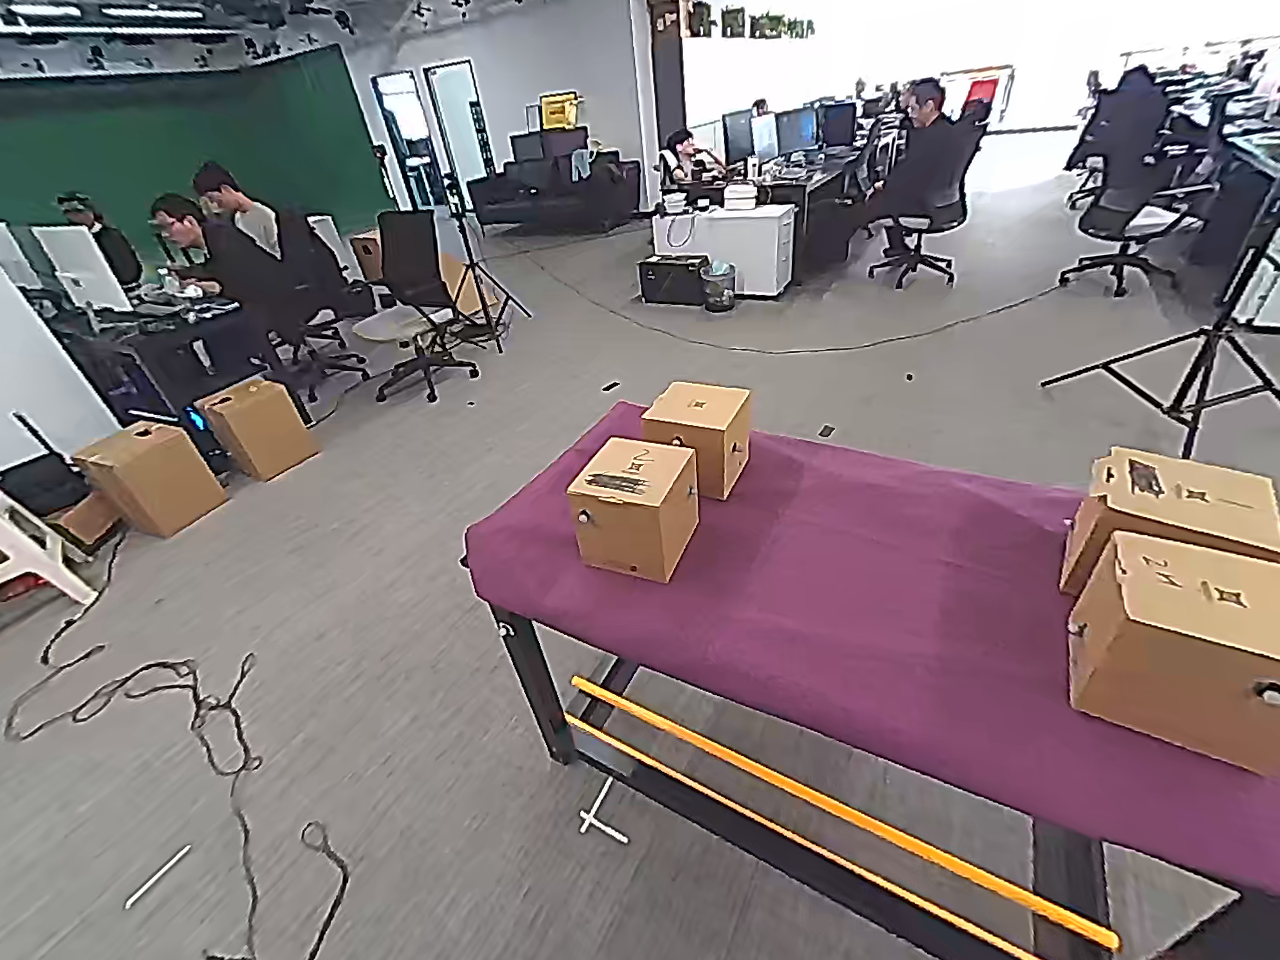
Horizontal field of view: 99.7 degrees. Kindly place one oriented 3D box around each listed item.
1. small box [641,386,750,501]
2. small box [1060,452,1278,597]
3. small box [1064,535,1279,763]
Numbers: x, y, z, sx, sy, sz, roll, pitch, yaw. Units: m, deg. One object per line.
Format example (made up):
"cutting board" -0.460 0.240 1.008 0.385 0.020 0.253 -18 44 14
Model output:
"small box" 0.120 -0.076 1.125 0.179 0.176 0.168 11 39 24
"small box" 0.739 0.088 0.777 0.179 0.176 0.168 19 45 31
"small box" 0.640 0.197 0.642 0.179 0.176 0.168 15 39 29
